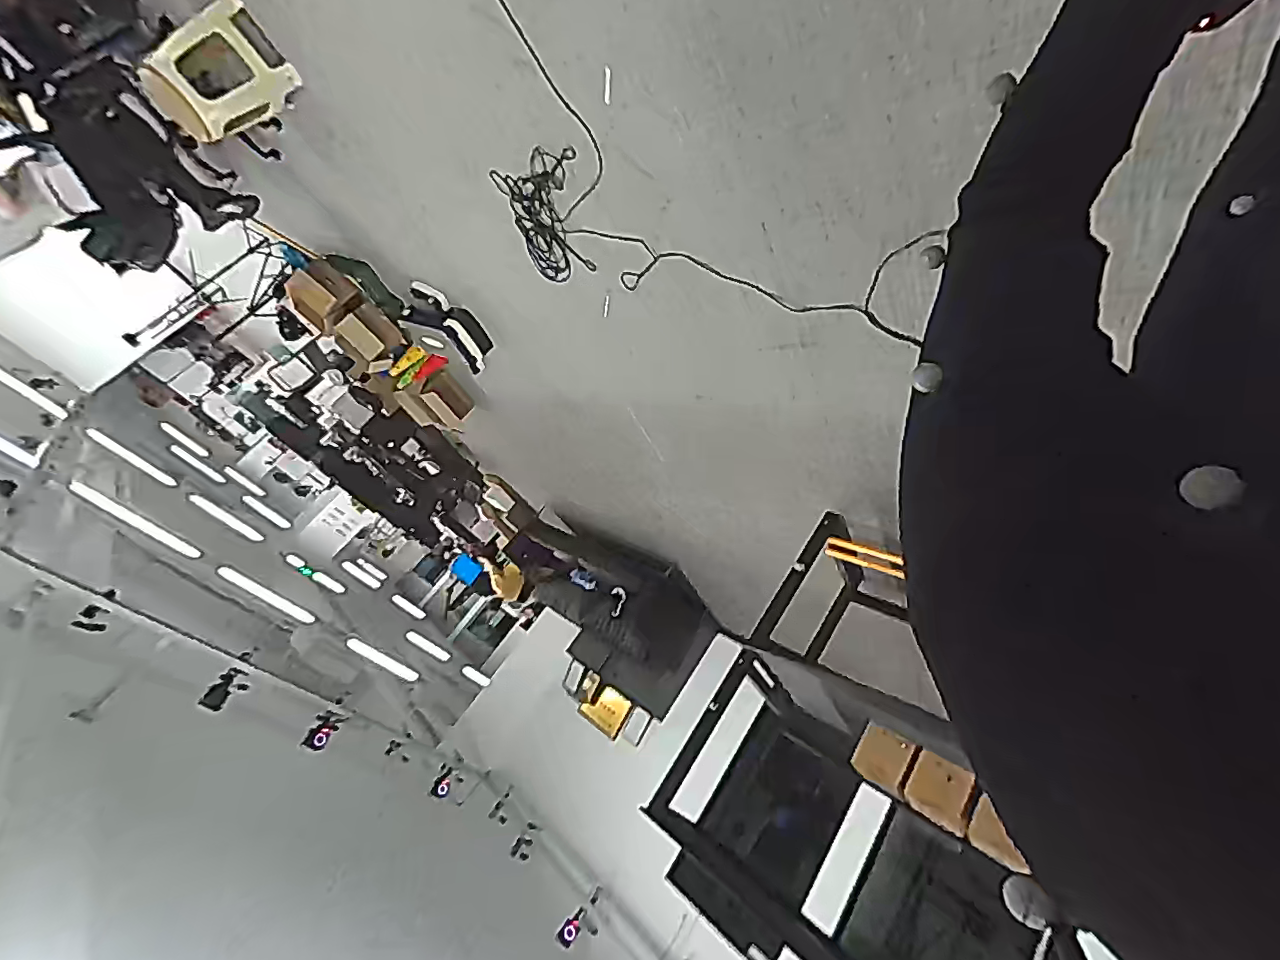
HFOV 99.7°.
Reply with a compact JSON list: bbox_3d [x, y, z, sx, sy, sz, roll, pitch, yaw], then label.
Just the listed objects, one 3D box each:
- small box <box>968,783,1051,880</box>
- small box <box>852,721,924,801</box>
[{"bbox_3d":[1.132,1.069,1.651,0.168,0.176,0.179,16,151,47],"label":"small box"},{"bbox_3d":[0.885,0.994,1.923,0.168,0.176,0.179,17,152,47],"label":"small box"}]
